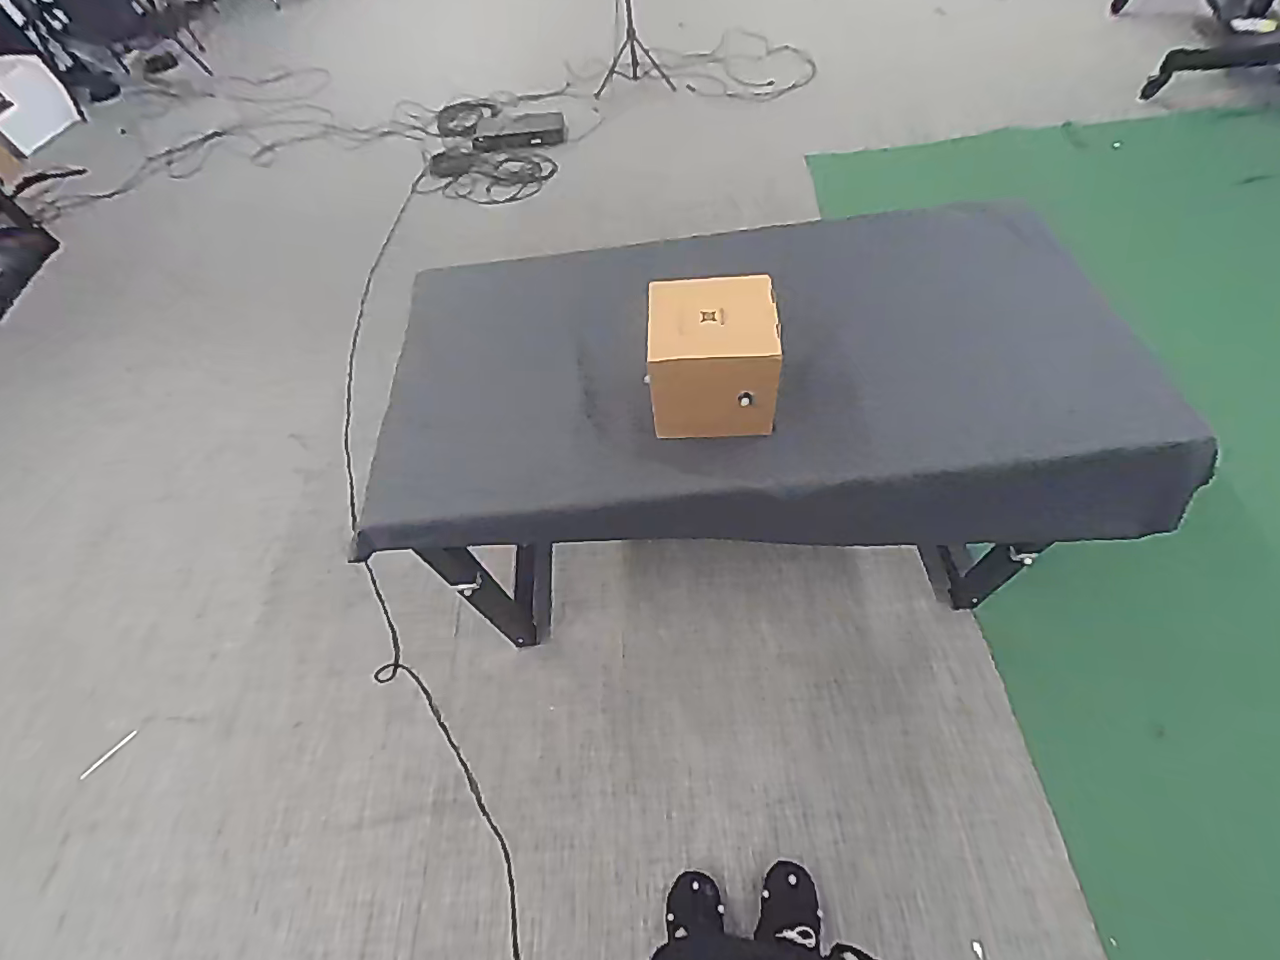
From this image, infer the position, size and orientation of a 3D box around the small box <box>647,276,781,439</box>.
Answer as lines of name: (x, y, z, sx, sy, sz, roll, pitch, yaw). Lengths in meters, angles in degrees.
small box: (0.106, -0.176, 0.808, 0.179, 0.176, 0.168, -3, 56, 7)
